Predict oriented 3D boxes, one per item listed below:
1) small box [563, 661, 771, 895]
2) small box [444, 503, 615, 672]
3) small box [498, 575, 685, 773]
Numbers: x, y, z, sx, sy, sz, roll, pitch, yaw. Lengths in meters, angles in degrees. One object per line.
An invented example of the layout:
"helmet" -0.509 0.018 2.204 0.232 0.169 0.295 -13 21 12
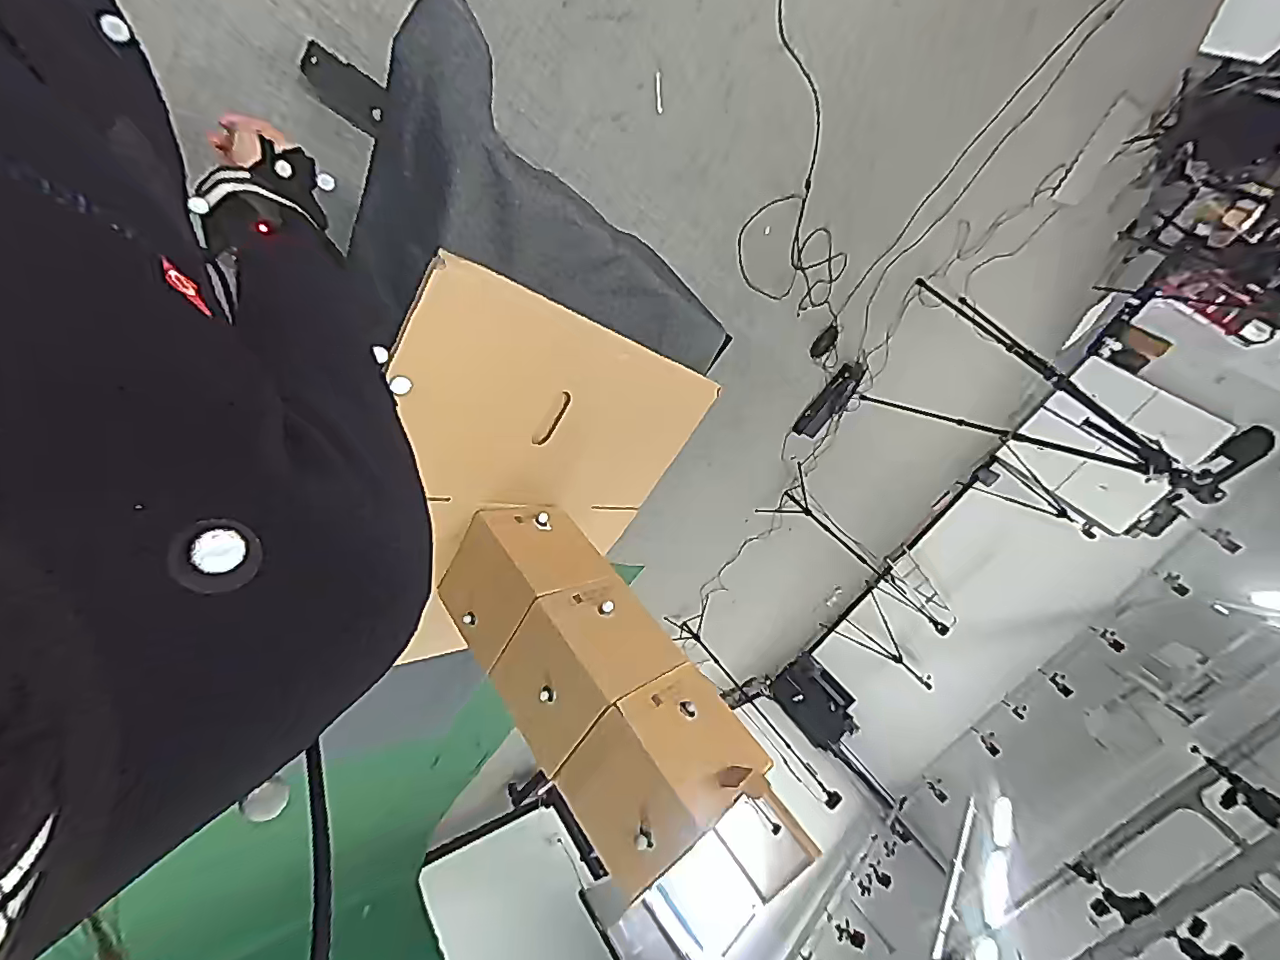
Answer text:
"small box" 0.026 0.368 0.696 0.168 0.176 0.179 -5 133 -51
"small box" -0.178 0.156 0.838 0.168 0.176 0.179 -4 132 -52
"small box" -0.076 0.262 0.765 0.168 0.176 0.179 -5 133 -52
